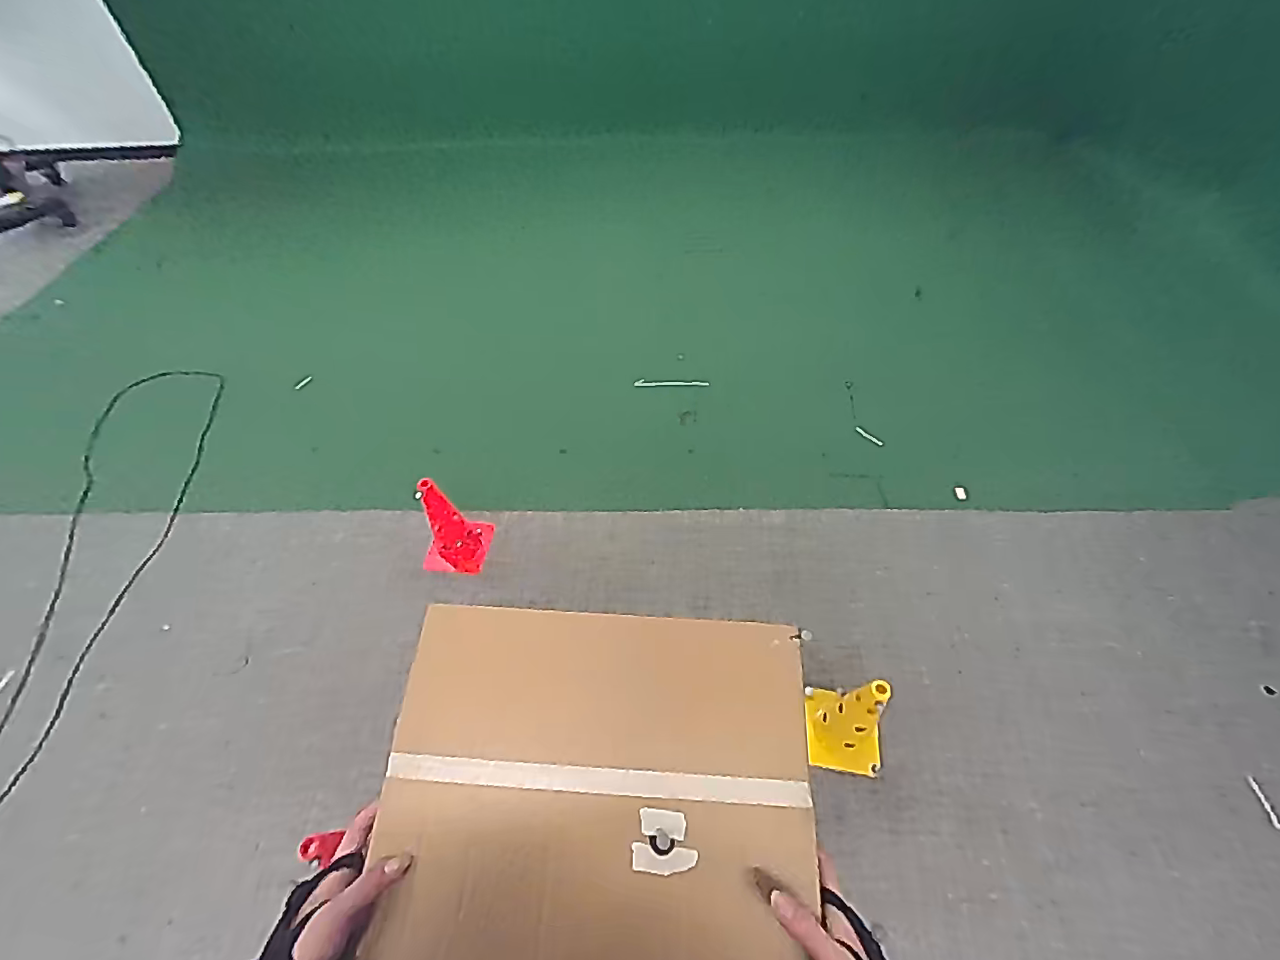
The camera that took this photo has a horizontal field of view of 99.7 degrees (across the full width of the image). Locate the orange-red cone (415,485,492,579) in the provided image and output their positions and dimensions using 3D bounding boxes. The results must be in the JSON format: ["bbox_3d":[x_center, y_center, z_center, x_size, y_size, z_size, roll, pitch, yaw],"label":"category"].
[{"bbox_3d":[-0.628,0.138,1.703,0.199,0.360,0.198,5,52,8],"label":"orange-red cone"}]

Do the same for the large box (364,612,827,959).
[{"bbox_3d":[-0.033,0.358,0.655,0.408,0.320,0.320,2,63,2],"label":"large box"}]
